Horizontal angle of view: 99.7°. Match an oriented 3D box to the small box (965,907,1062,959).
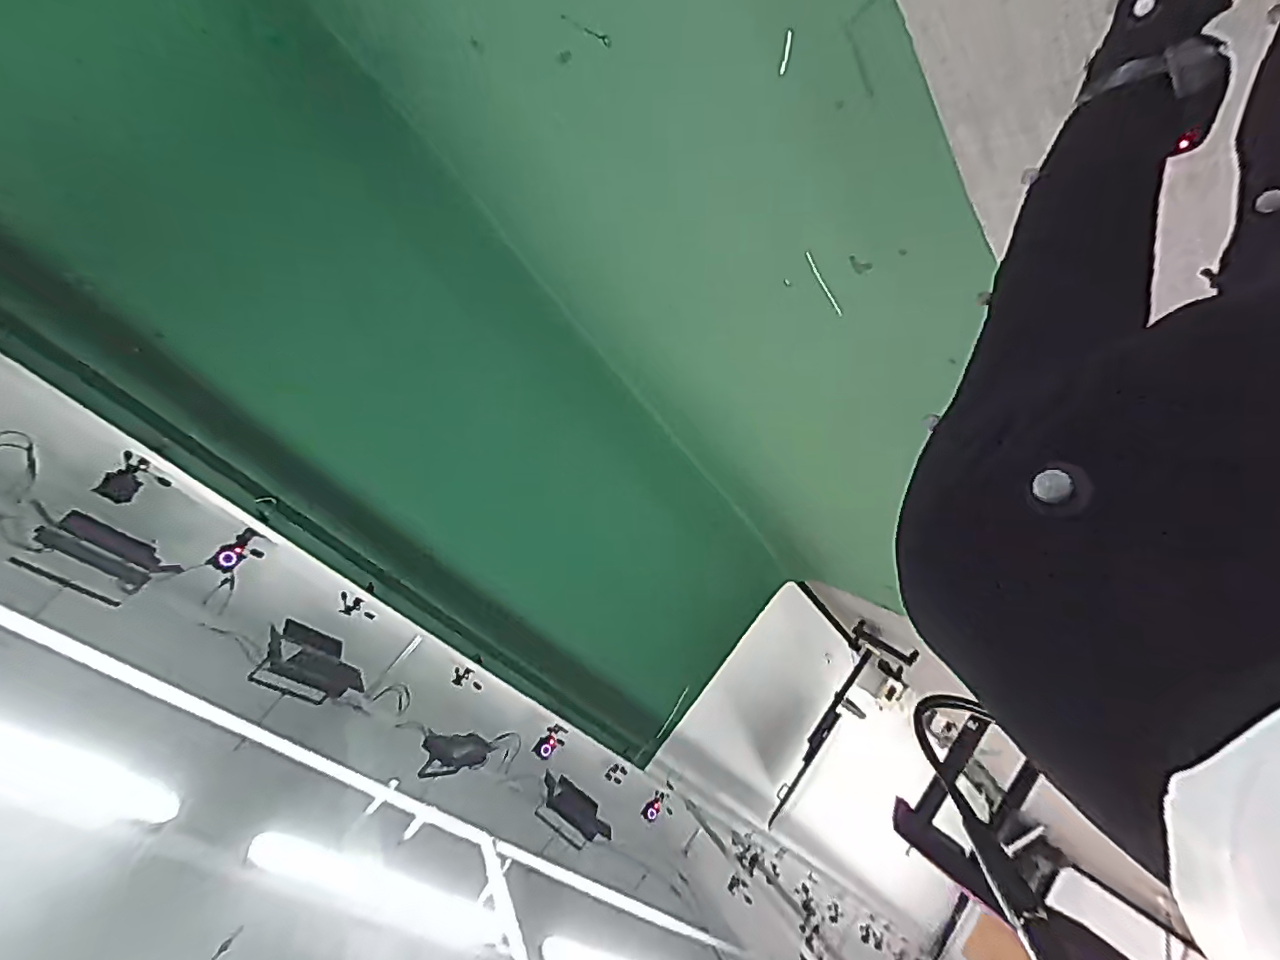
[{"bbox_3d":[1.124,1.429,1.617,0.168,0.176,0.179,45,167,-26],"label":"small box"}]
